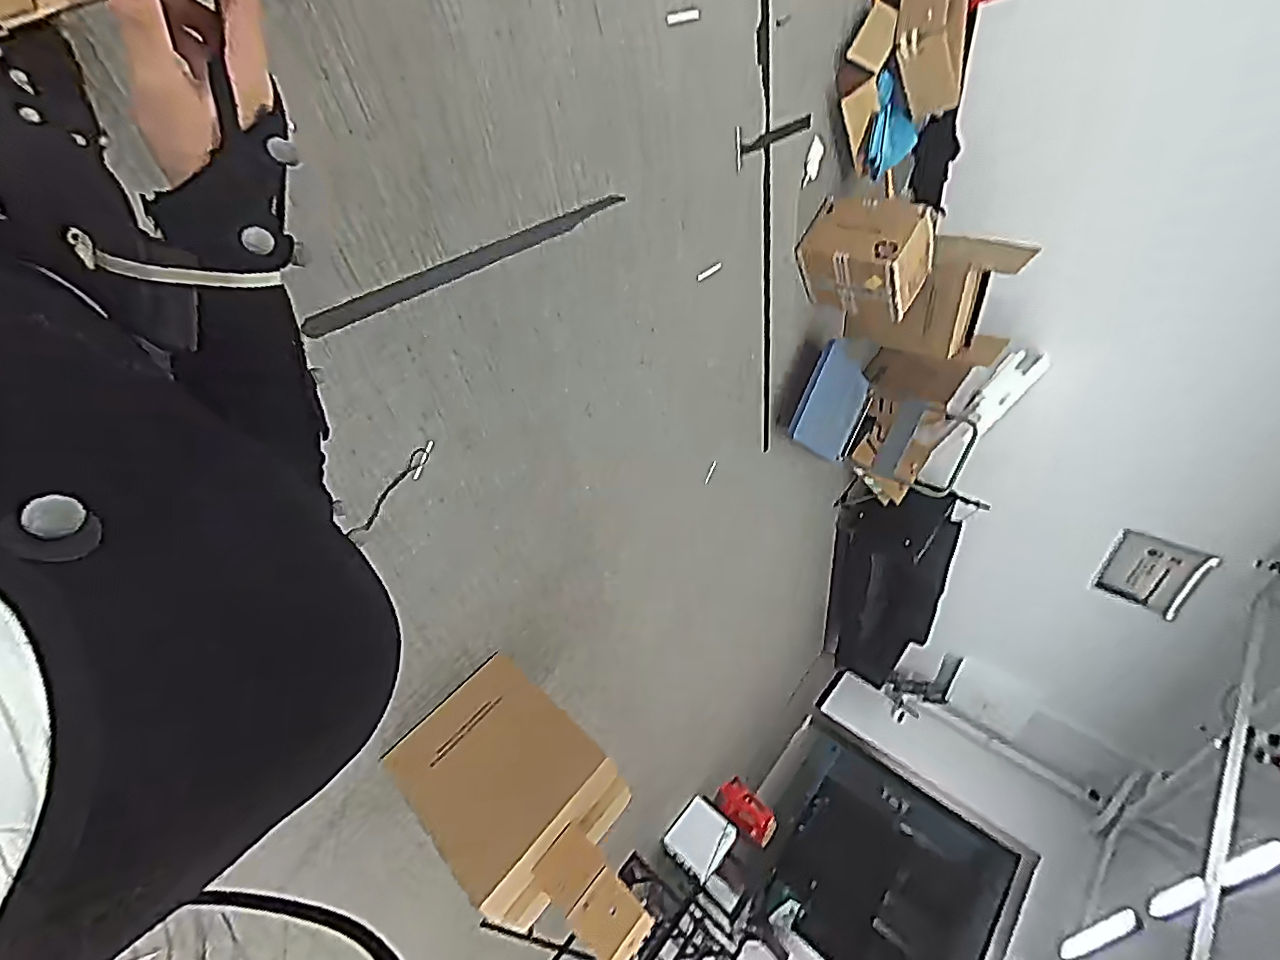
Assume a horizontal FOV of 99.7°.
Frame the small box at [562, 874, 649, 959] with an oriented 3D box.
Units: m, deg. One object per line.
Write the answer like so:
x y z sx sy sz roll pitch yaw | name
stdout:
-0.100 1.284 1.559 0.168 0.176 0.179 -42 140 -27 | small box
